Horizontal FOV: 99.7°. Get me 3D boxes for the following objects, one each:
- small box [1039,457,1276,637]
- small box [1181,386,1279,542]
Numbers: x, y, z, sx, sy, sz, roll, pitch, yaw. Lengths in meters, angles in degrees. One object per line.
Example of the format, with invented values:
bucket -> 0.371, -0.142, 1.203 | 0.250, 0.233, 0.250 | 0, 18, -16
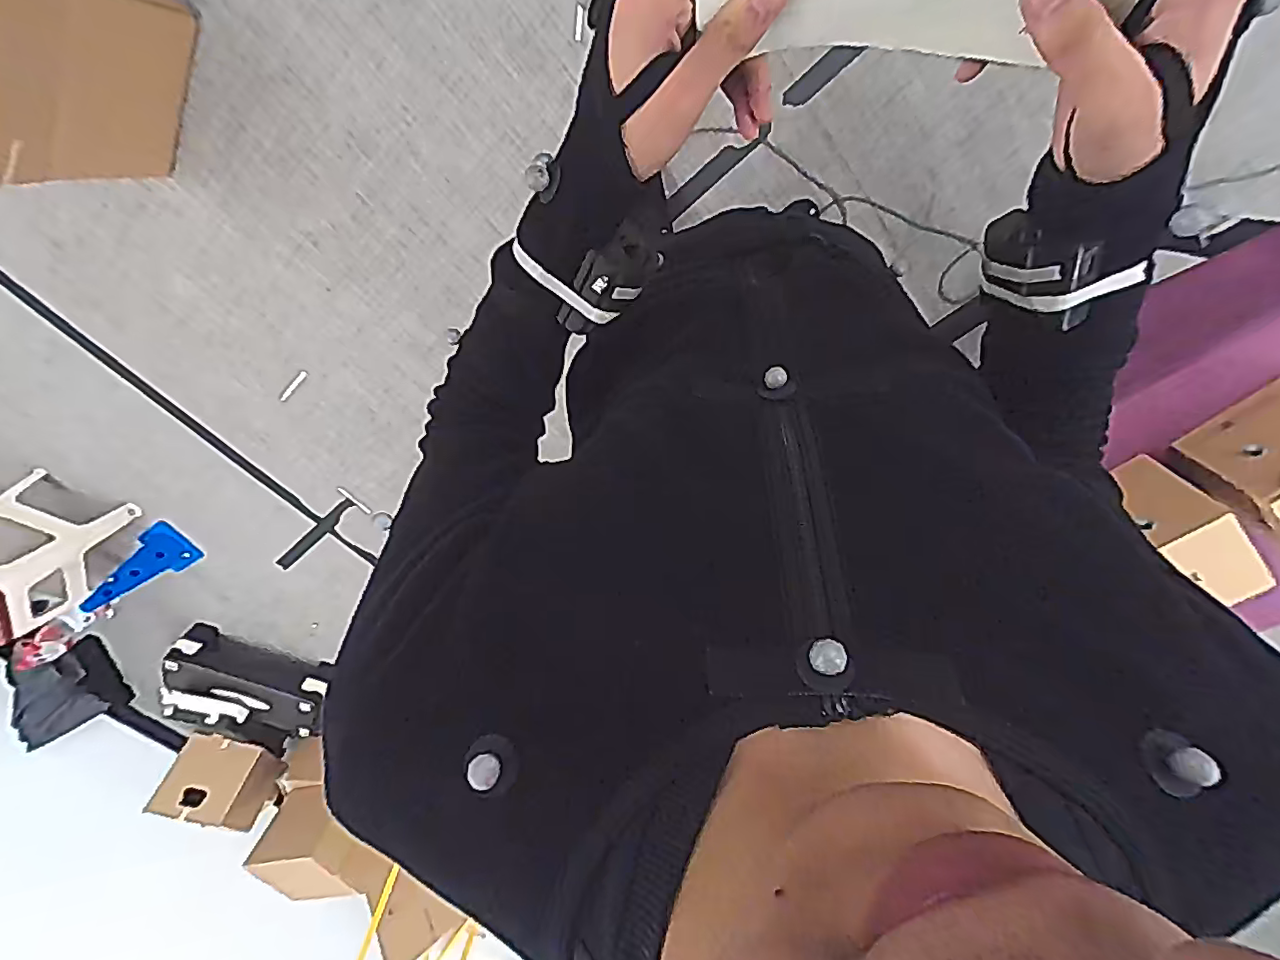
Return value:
small box -> 0.769, 0.096, 0.824 | 0.168, 0.176, 0.179 | 42, 117, -17
small box -> 0.919, -0.016, 0.741 | 0.179, 0.176, 0.168 | 38, 118, -16
